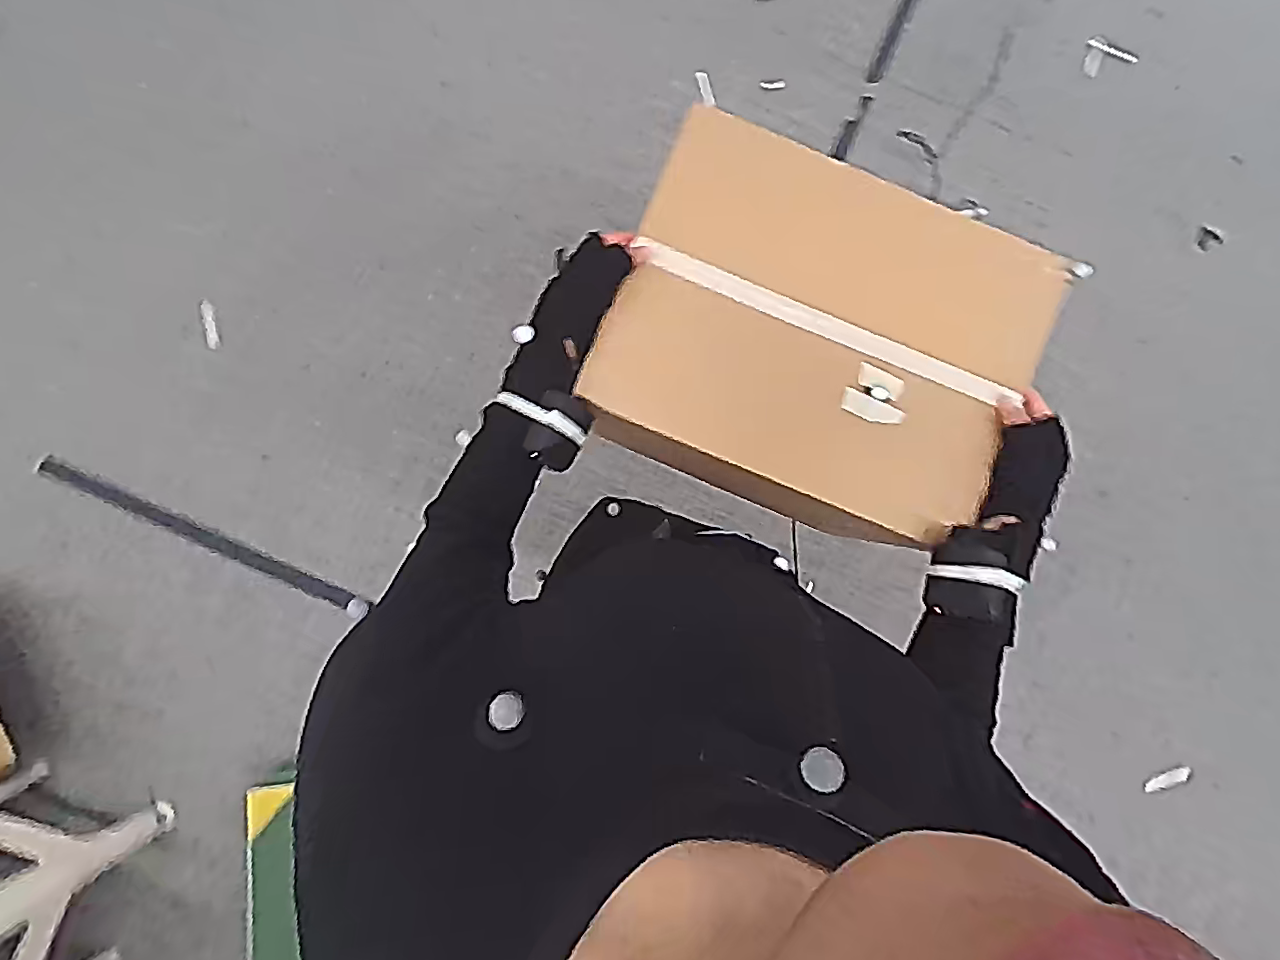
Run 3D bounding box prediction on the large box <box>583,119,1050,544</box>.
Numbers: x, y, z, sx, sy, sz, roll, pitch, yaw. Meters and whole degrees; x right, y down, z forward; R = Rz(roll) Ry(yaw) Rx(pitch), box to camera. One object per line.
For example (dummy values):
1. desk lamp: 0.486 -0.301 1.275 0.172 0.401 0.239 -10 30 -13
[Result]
1. large box: 0.172 -0.144 0.685 0.408 0.320 0.320 23 88 -2
